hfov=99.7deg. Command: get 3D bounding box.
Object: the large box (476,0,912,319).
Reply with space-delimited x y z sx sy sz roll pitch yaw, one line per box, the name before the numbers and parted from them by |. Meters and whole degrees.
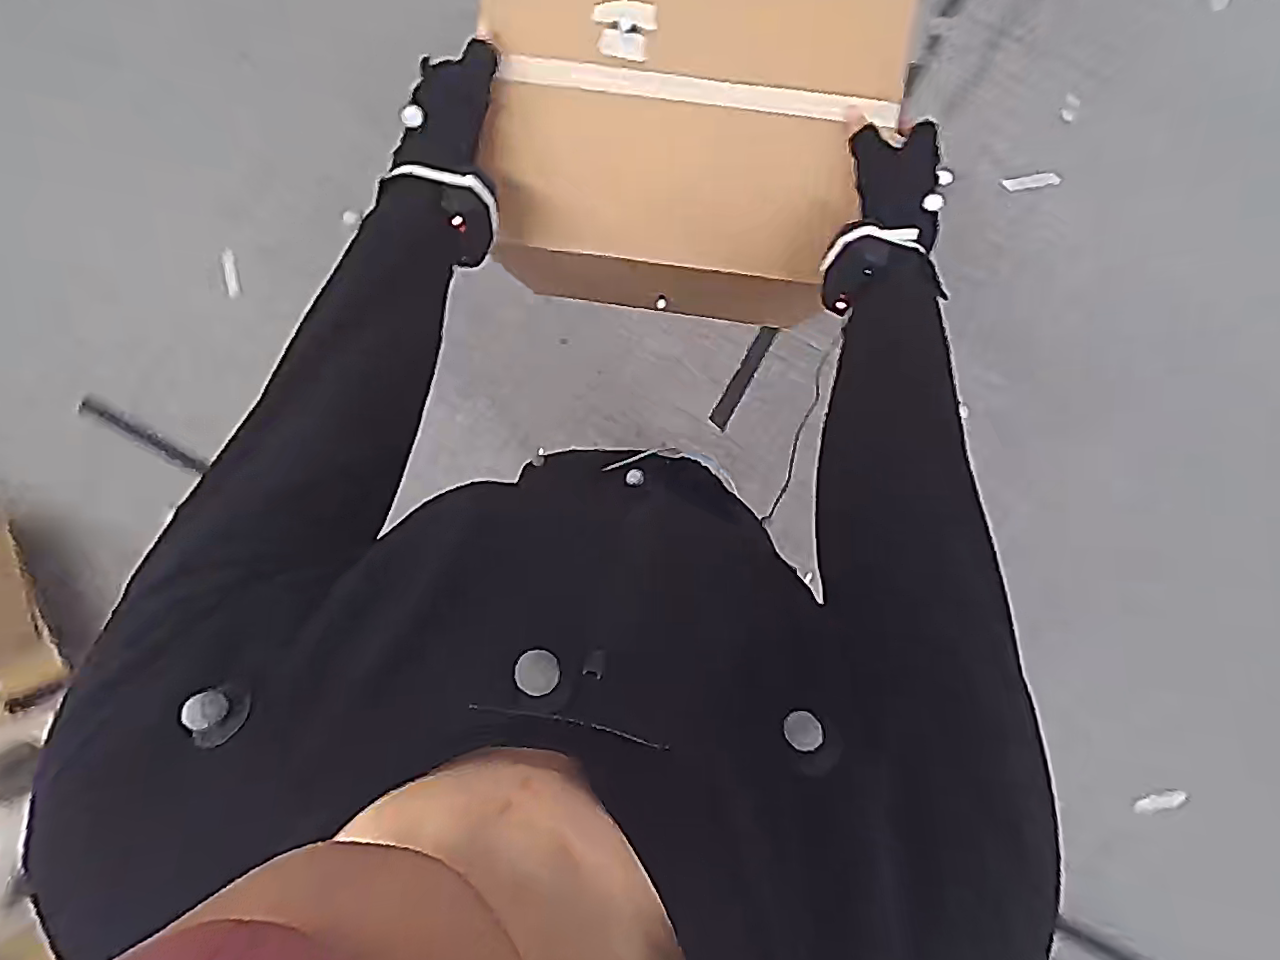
large box | 0.053 -0.396 0.674 0.408 0.320 0.320 9 98 1
